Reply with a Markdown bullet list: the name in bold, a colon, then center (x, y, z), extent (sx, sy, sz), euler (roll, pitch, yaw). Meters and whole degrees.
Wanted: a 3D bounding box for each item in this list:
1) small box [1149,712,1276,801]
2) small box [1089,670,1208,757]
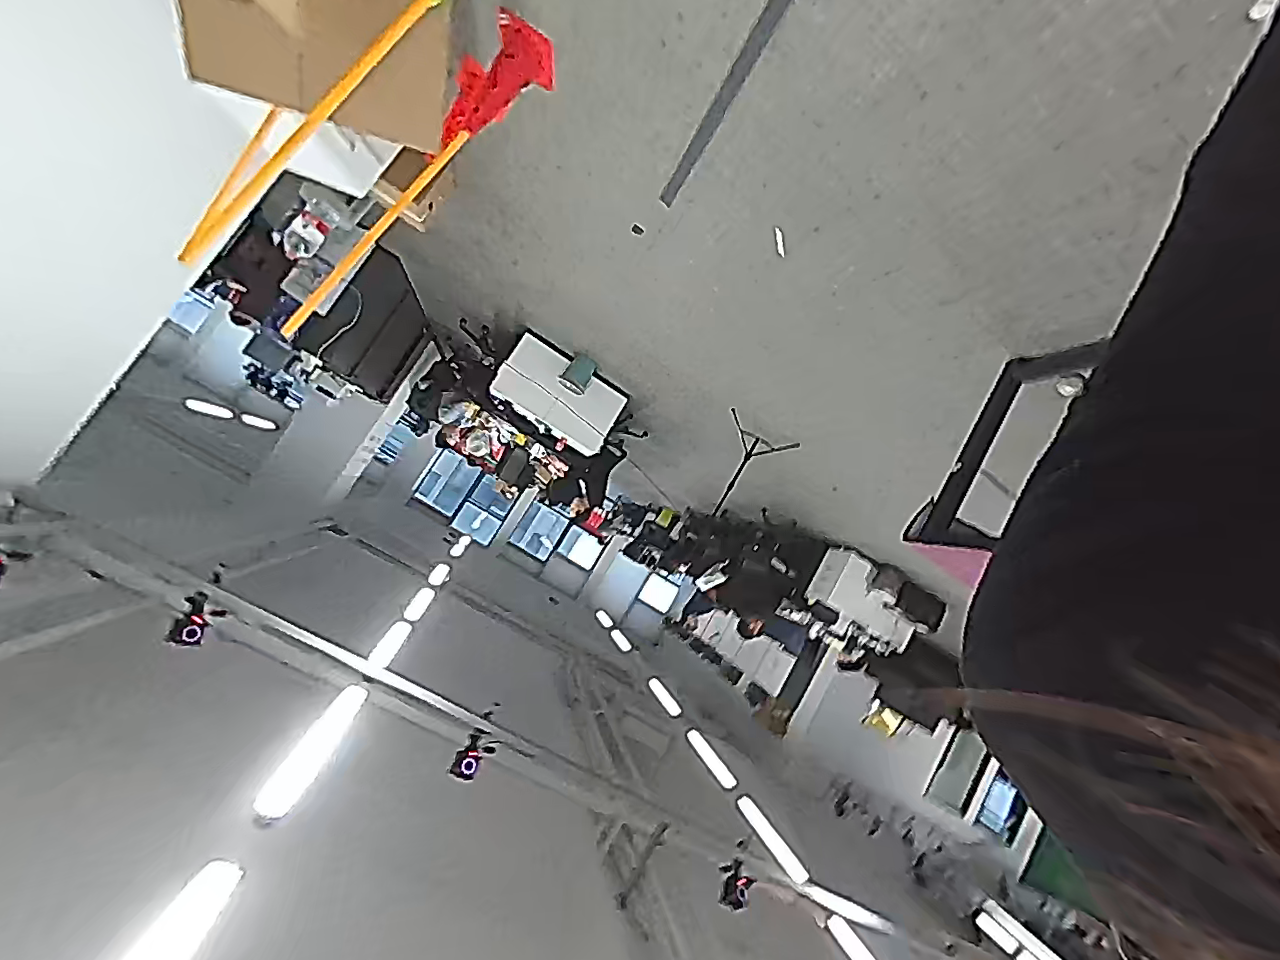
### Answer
- **small box**: center (1.655, 0.774, 1.564), extent (0.168, 0.176, 0.179), euler (32, 172, -8)
- **small box**: center (1.447, 0.638, 1.534), extent (0.168, 0.176, 0.179), euler (33, 172, -9)
